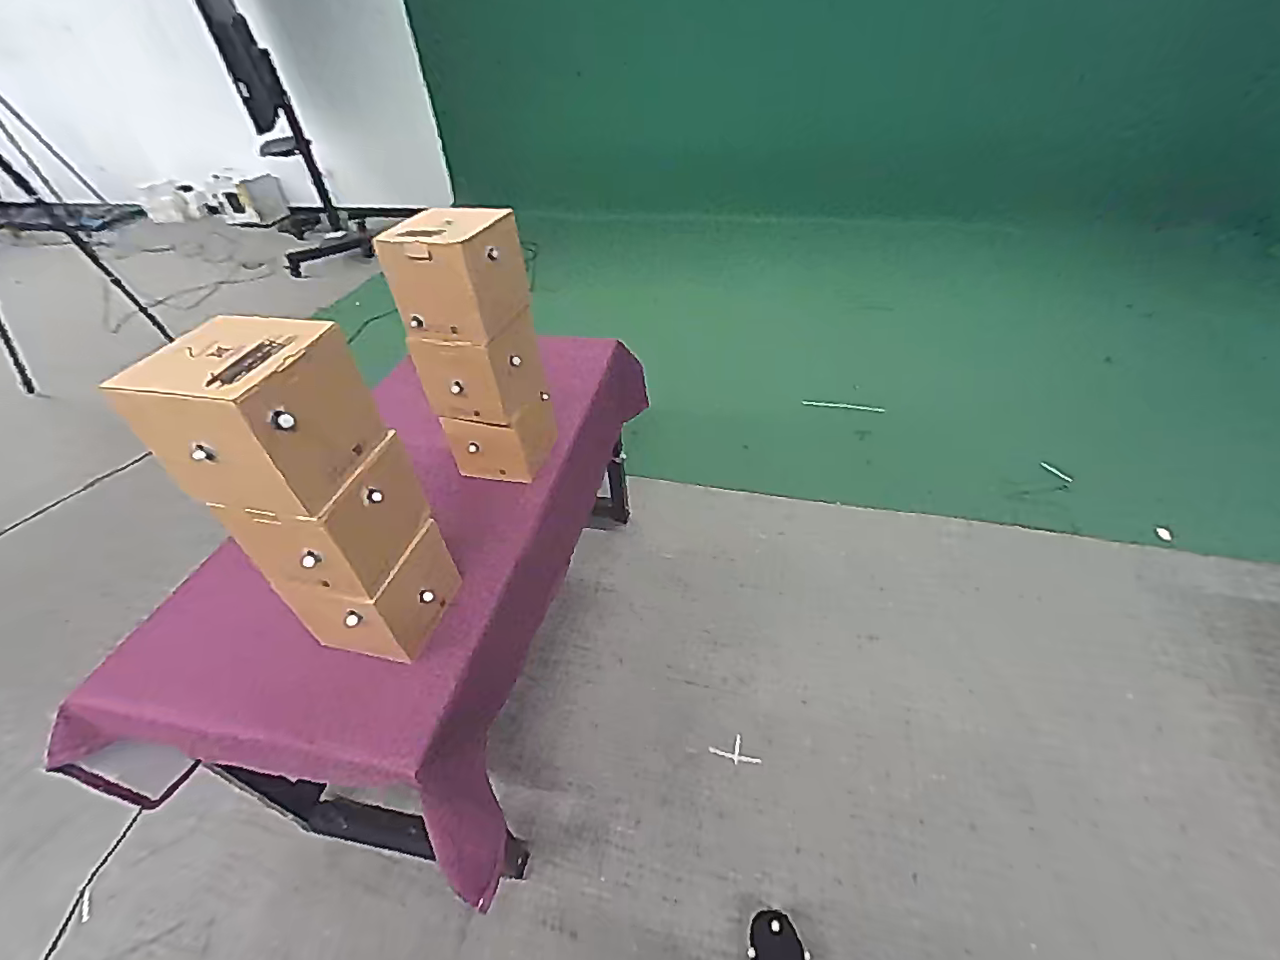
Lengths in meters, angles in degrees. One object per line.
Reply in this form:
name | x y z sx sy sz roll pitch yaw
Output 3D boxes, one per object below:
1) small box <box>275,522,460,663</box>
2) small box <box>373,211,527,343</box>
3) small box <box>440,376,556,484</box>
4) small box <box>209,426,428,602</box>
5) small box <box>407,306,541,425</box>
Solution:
small box | -0.418 0.171 0.867 0.179 0.176 0.168 7 43 13
small box | -0.316 -0.354 0.943 0.168 0.176 0.179 9 43 15
small box | -0.293 -0.110 1.163 0.168 0.176 0.179 6 43 12
small box | -0.429 0.048 0.761 0.168 0.176 0.179 7 43 12
small box | -0.307 -0.227 1.048 0.168 0.176 0.179 9 45 15
